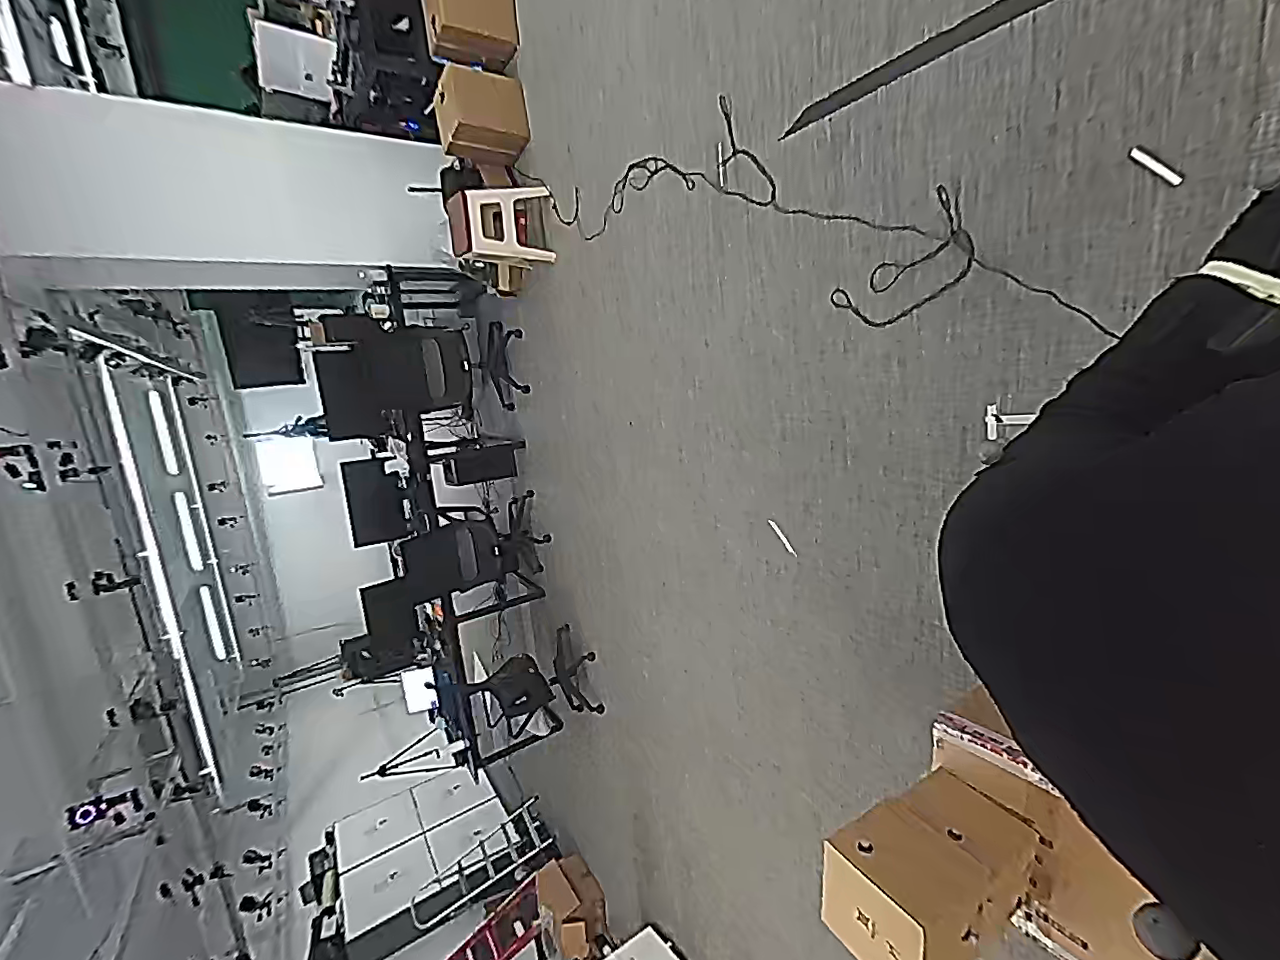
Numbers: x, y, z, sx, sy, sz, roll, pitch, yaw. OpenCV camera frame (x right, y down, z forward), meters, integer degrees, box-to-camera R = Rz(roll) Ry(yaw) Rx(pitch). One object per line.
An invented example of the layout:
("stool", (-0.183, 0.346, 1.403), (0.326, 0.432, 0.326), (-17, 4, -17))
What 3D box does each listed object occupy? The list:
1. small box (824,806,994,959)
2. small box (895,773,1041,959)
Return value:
("small box", (0.421, 0.660, 0.861), (0.179, 0.176, 0.168), (18, 114, 58))
("small box", (0.562, 0.659, 0.950), (0.179, 0.176, 0.168), (24, 119, 57))
